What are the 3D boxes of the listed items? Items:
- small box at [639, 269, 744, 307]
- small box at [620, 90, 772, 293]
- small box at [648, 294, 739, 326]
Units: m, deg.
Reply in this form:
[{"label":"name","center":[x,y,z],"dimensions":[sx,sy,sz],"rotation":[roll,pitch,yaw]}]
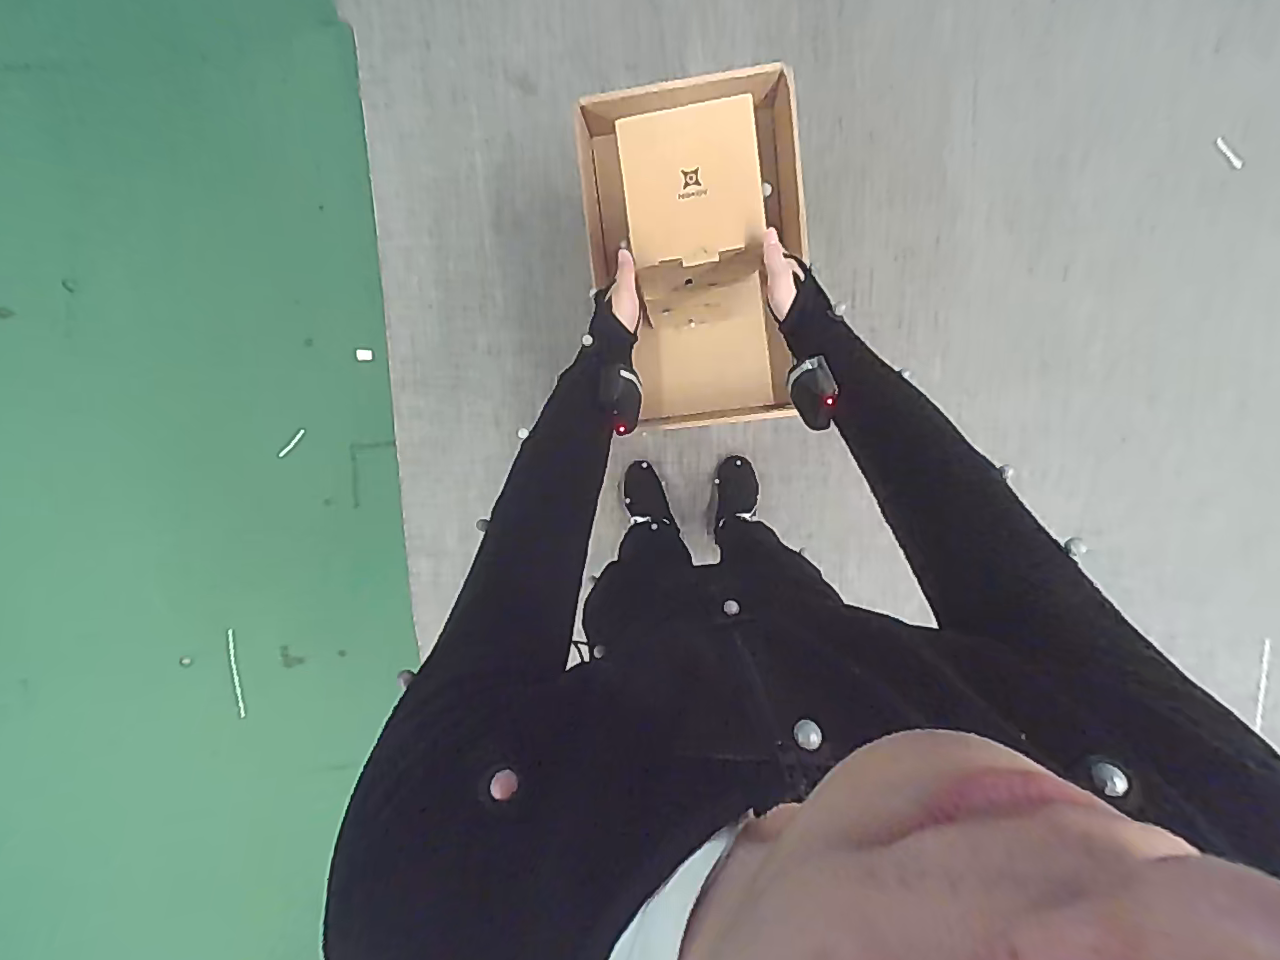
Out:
[{"label":"small box","center":[0.080,-0.389,0.879],"dimensions":[0.168,0.176,0.179],"rotation":[-7,95,5]},{"label":"small box","center":[0.071,-0.366,0.718],"dimensions":[0.168,0.176,0.179],"rotation":[-8,96,5]},{"label":"small box","center":[0.095,-0.408,1.041],"dimensions":[0.168,0.176,0.179],"rotation":[-5,96,6]}]
